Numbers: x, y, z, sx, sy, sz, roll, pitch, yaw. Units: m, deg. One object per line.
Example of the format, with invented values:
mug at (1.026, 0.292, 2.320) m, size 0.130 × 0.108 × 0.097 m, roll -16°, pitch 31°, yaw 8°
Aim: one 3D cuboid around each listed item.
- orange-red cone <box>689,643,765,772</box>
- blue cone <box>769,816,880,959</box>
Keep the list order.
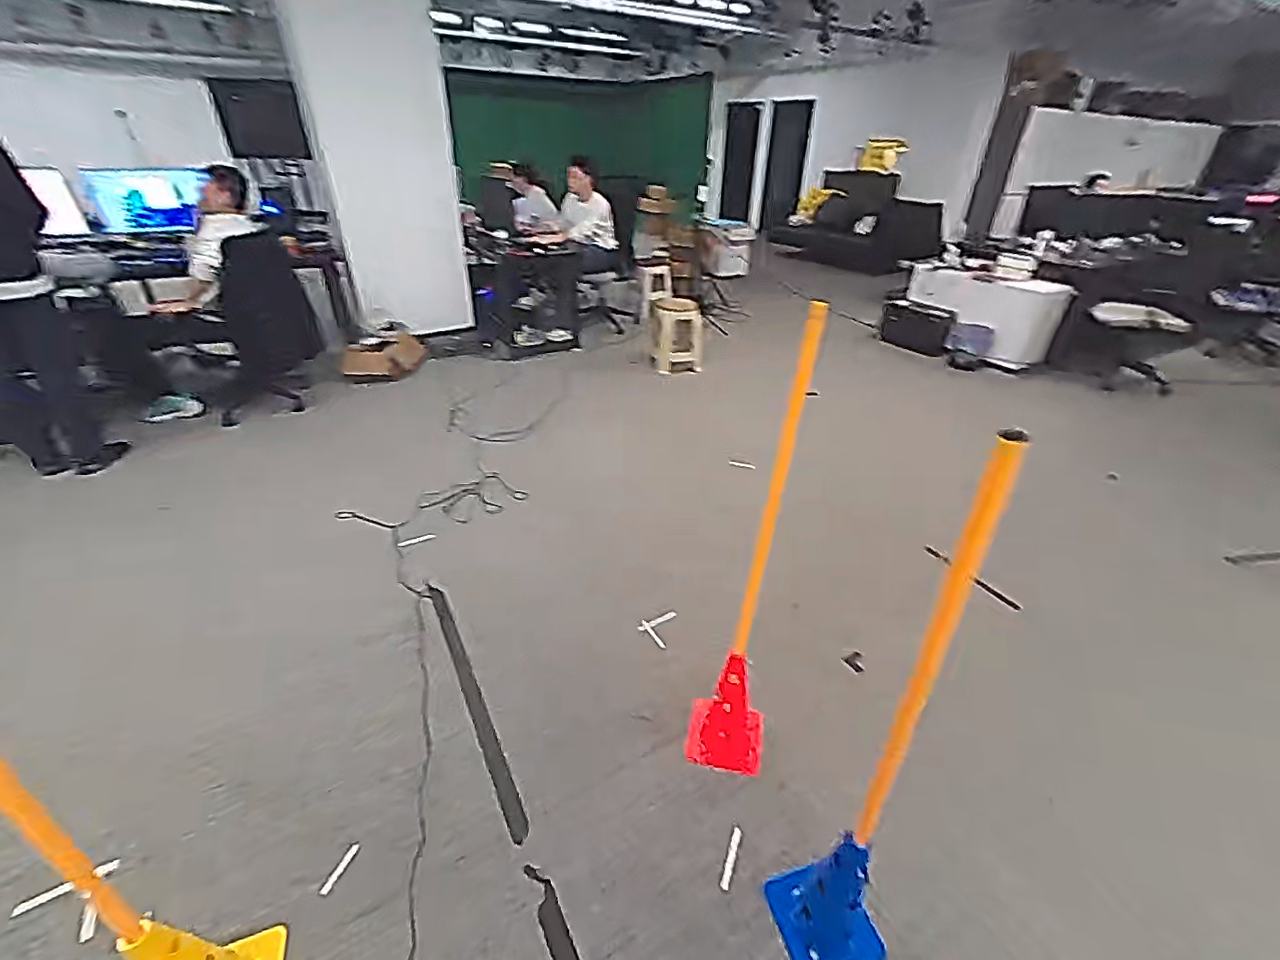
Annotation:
orange-red cone at (0.248, 0.568, 1.429) m, size 0.198 × 0.360 × 0.199 m, roll 8°, pitch 34°, yaw 13°
blue cone at (0.398, 0.801, 1.083) m, size 0.193 × 0.380 × 0.192 m, roll -7°, pitch 32°, yaw -13°
